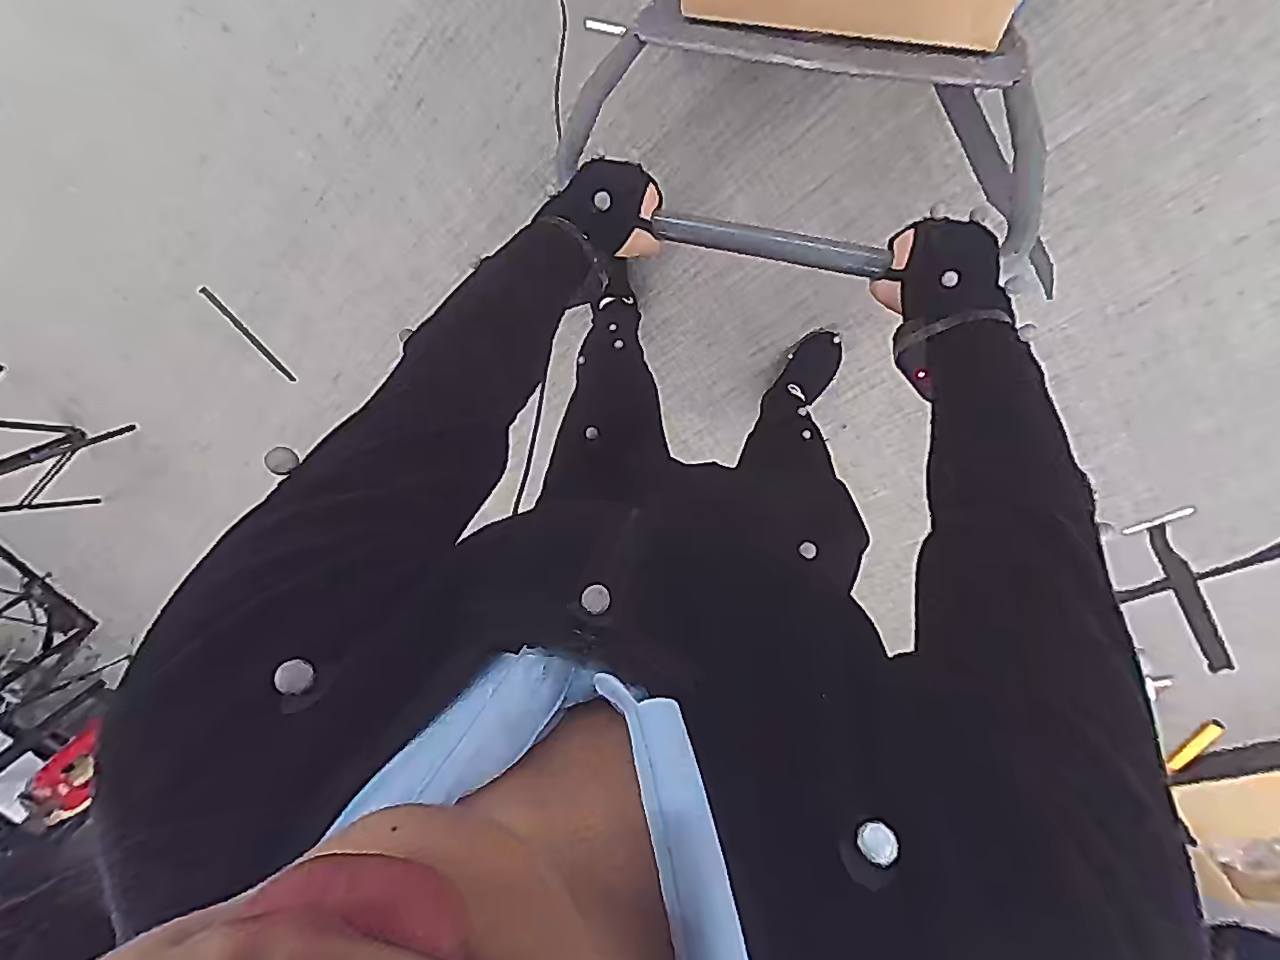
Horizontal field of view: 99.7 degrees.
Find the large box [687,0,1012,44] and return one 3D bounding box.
[{"bbox_3d":[0.293,-0.796,0.675,0.408,0.320,0.320,13,145,8],"label":"large box"}]
